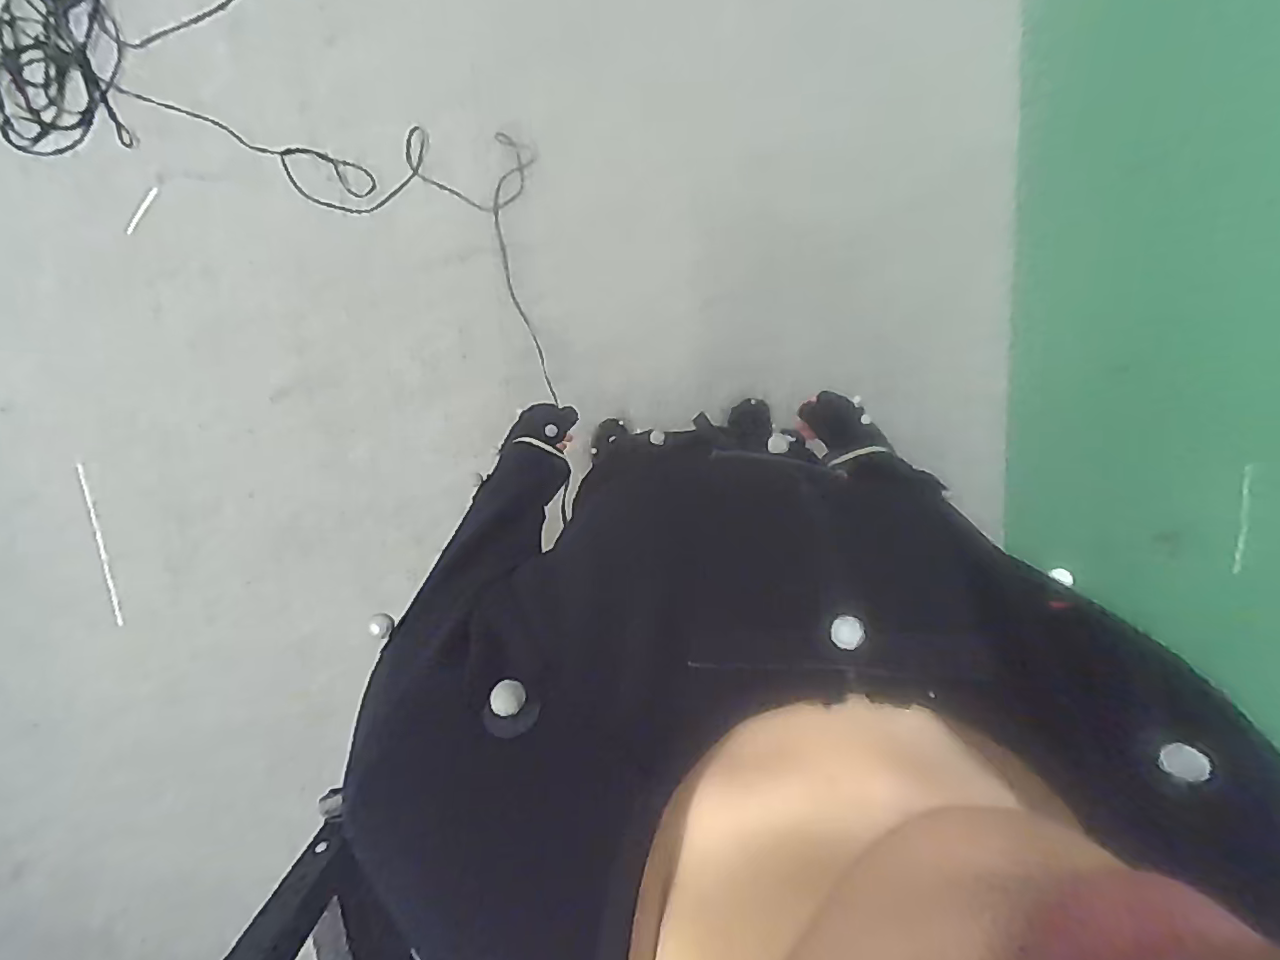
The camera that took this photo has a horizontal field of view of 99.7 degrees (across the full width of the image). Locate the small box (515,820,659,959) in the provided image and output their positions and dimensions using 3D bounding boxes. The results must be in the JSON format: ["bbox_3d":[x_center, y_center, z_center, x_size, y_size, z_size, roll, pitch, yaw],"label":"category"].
[{"bbox_3d":[-0.061,0.607,0.735,0.168,0.176,0.179,-6,99,0],"label":"small box"}]
